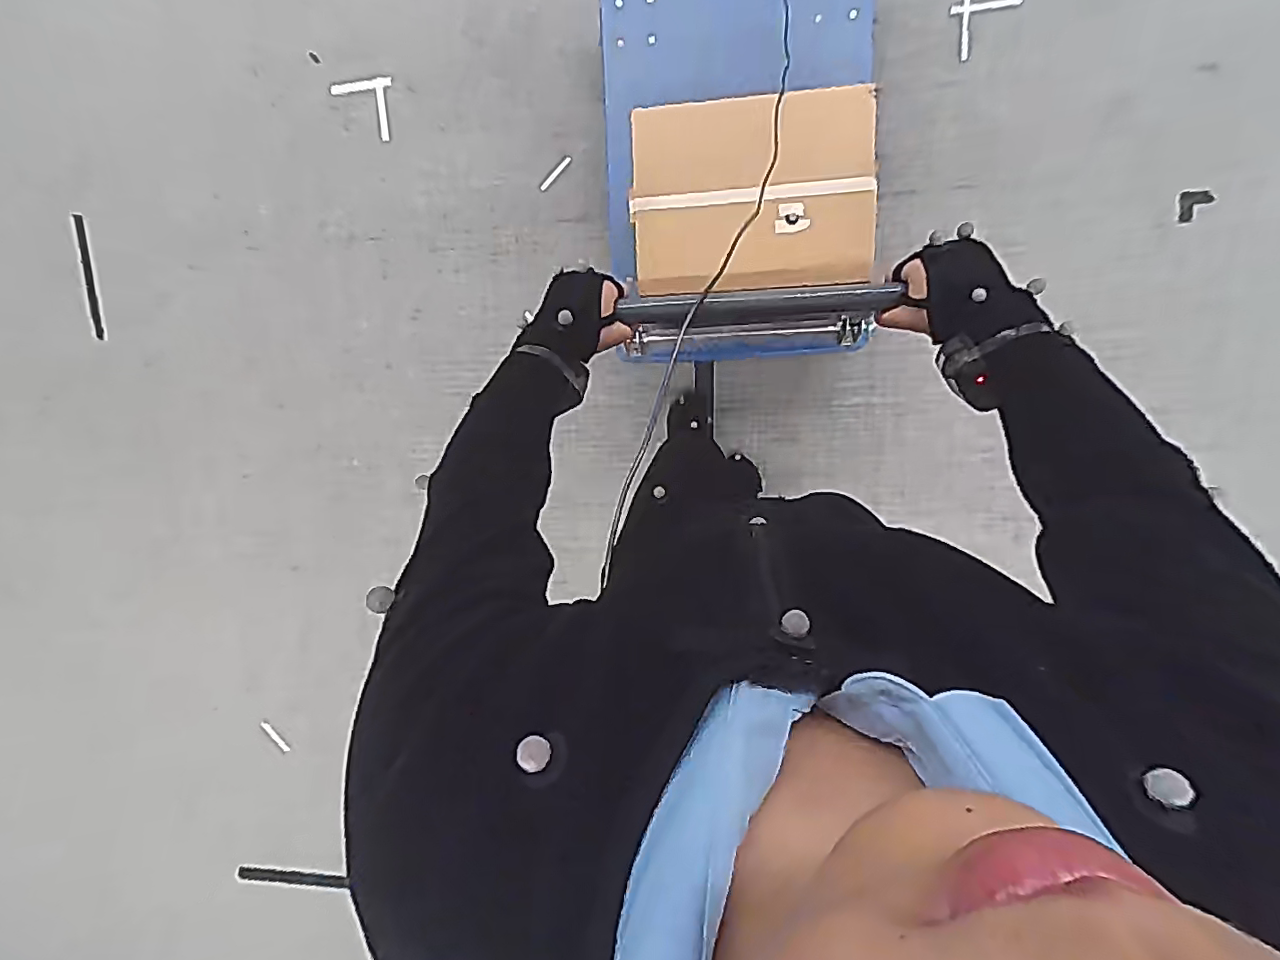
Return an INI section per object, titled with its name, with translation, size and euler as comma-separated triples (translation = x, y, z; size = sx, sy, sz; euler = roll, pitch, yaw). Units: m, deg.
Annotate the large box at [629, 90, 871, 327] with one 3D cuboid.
[large box]
translation = 0.202, -0.493, 1.065
size = 0.408, 0.320, 0.320
euler = -2, 99, 7
